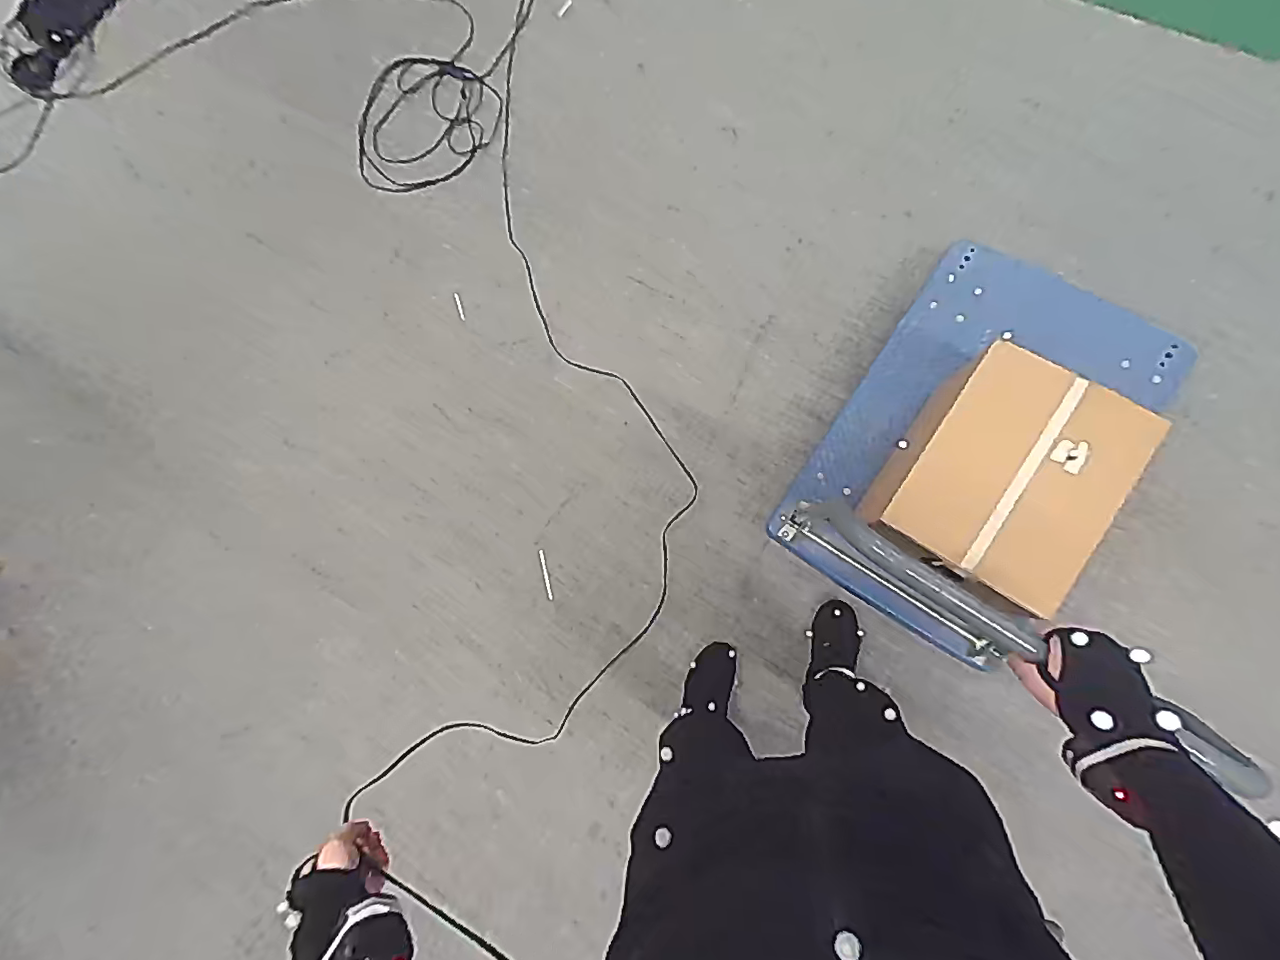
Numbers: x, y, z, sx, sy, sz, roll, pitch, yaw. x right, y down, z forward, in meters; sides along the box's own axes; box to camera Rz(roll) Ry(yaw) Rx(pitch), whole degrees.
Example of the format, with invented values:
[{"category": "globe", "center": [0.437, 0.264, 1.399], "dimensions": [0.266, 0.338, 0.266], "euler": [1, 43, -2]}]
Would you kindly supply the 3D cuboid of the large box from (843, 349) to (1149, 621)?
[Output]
[{"category": "large box", "center": [0.676, 0.025, 1.102], "dimensions": [0.320, 0.320, 0.408], "euler": [33, 86, 12]}]
